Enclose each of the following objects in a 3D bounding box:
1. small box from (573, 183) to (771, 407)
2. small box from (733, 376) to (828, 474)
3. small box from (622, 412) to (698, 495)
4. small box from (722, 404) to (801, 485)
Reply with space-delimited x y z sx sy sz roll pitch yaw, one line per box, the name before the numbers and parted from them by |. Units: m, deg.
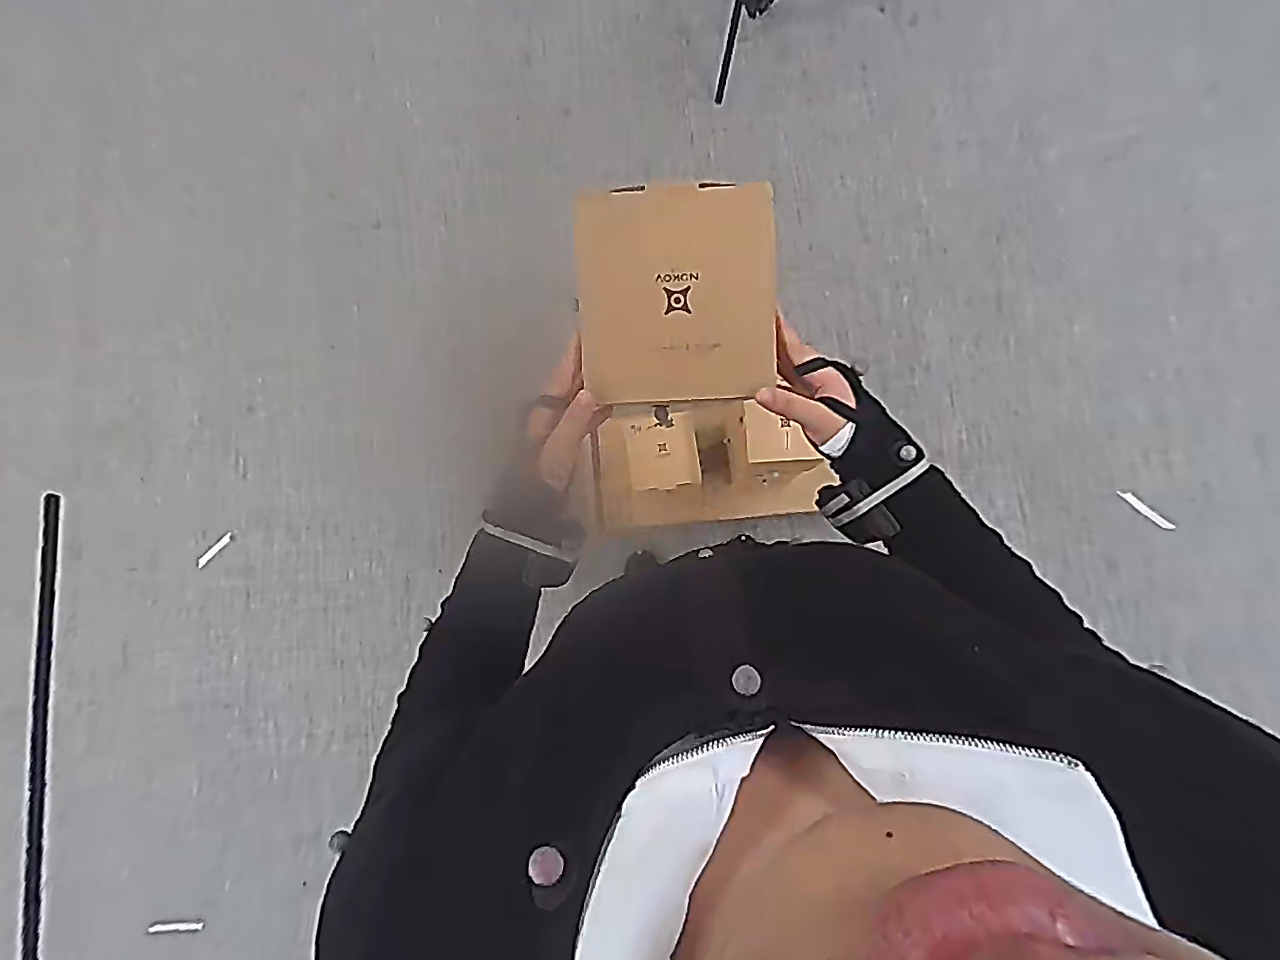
small box | 0.027 -0.164 0.530 0.168 0.176 0.179 -2 97 0
small box | 0.298 -0.114 1.180 0.168 0.176 0.179 -3 83 4
small box | 0.053 -0.057 1.353 0.168 0.176 0.179 -8 83 2
small box | 0.299 -0.091 1.343 0.168 0.176 0.179 -6 82 3
